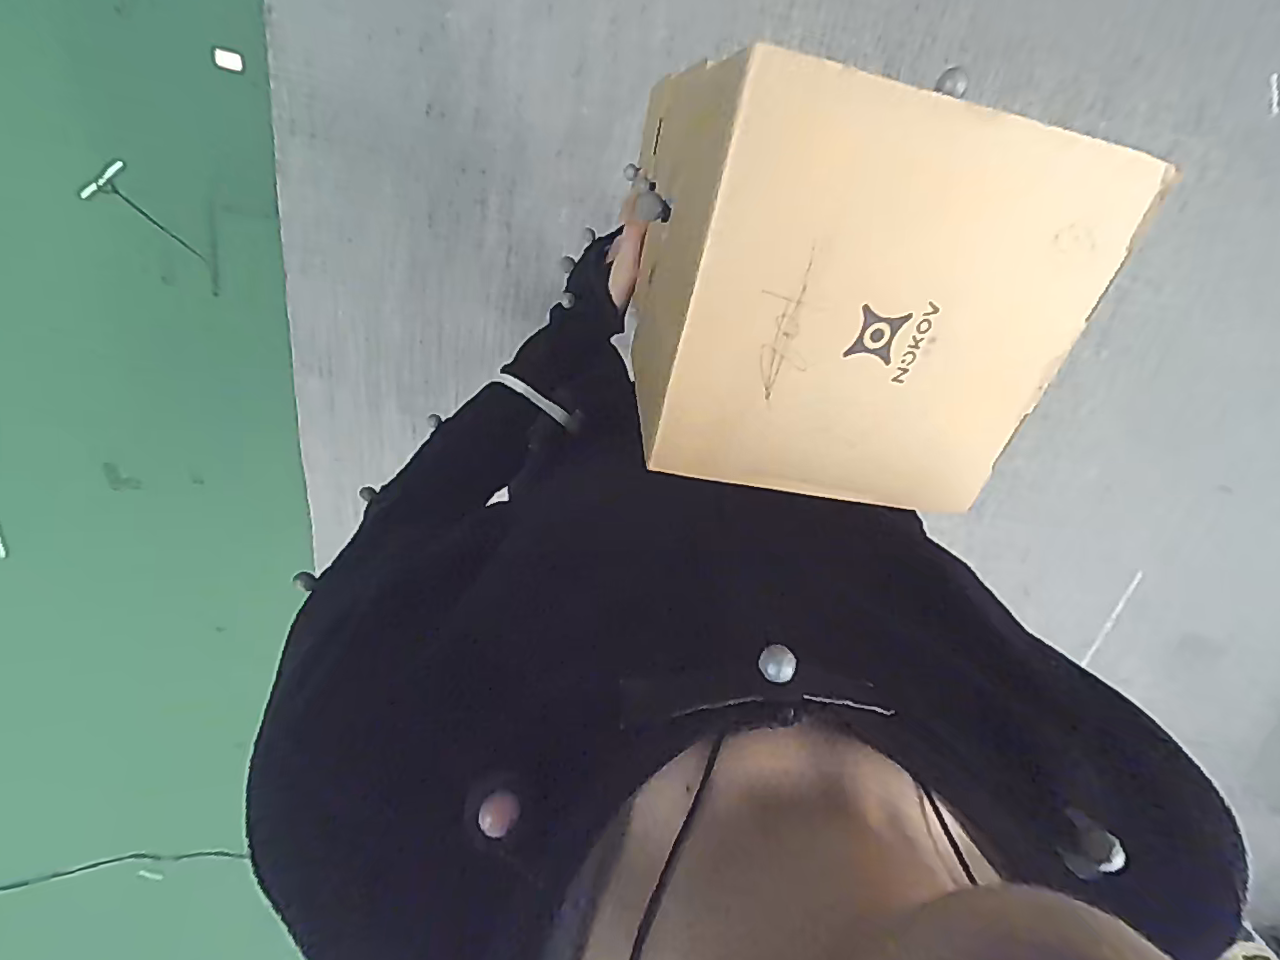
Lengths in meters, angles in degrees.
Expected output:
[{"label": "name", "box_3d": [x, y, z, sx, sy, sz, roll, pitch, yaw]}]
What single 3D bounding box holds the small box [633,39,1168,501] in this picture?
[{"label": "small box", "box_3d": [0.098, -0.111, 0.301, 0.179, 0.176, 0.168, 9, 121, -9]}]
